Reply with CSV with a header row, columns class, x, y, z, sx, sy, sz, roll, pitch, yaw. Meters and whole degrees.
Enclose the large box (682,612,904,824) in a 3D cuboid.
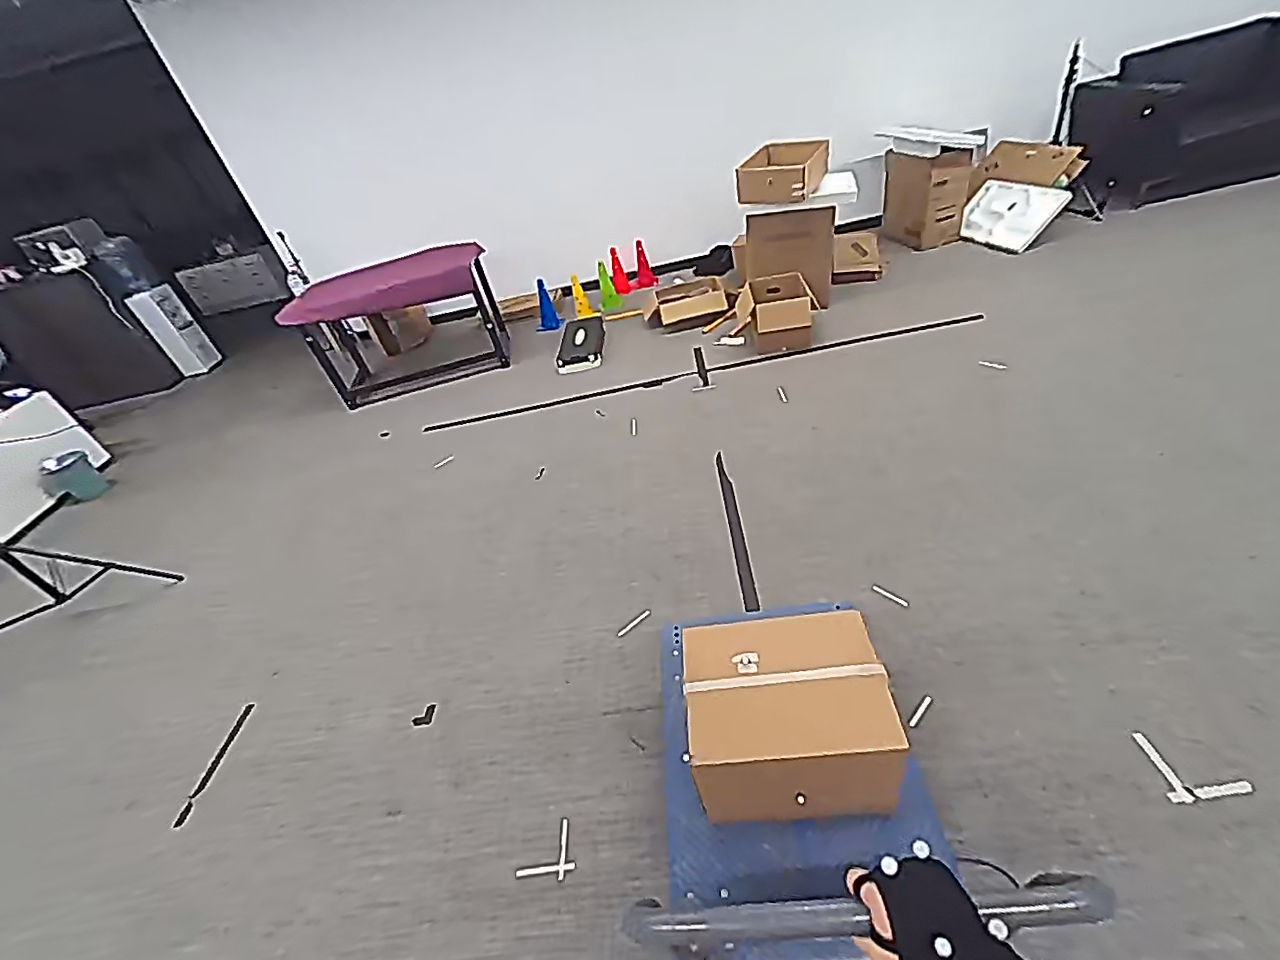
class,x,y,z,sx,sy,sz,roll,pitch,yaw
large box,0.328,0.543,1.227,0.408,0.320,0.320,-10,37,8
